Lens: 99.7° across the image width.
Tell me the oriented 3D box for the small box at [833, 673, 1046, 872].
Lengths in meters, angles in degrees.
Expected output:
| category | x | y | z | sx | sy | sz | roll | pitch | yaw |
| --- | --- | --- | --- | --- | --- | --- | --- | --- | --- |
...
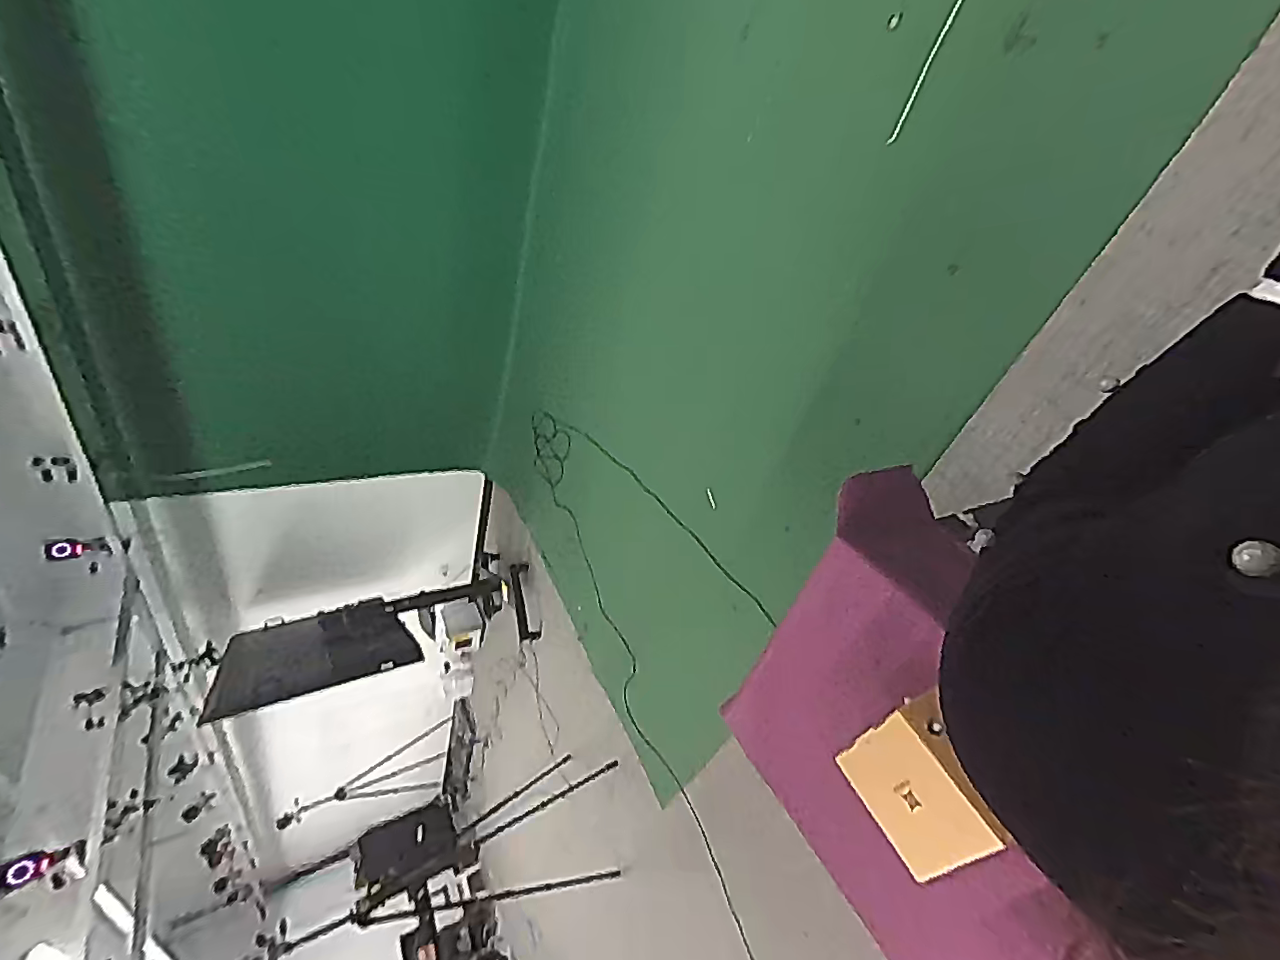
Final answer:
| category | x | y | z | sx | sy | sz | roll | pitch | yaw |
| --- | --- | --- | --- | --- | --- | --- | --- | --- | --- |
| small box | 0.429 | 0.413 | 0.783 | 0.179 | 0.176 | 0.168 | 56 | 139 | 35 |
